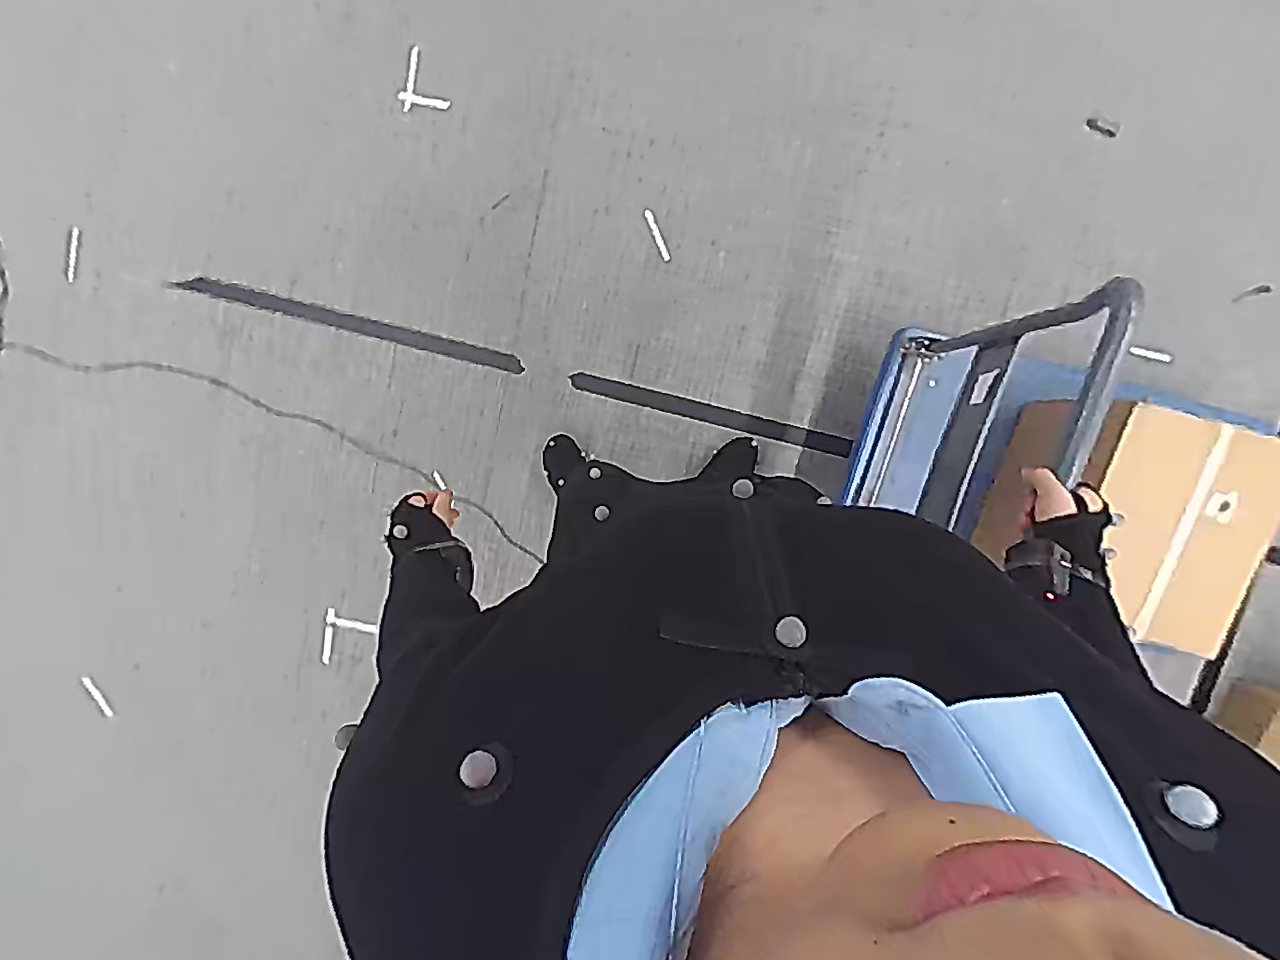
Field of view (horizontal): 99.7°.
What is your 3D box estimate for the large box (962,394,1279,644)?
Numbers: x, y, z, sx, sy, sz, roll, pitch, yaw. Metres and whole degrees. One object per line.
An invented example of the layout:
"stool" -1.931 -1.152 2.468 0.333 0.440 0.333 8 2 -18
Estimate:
"large box" 0.956 0.061 1.127 0.320 0.320 0.408 16 97 0
